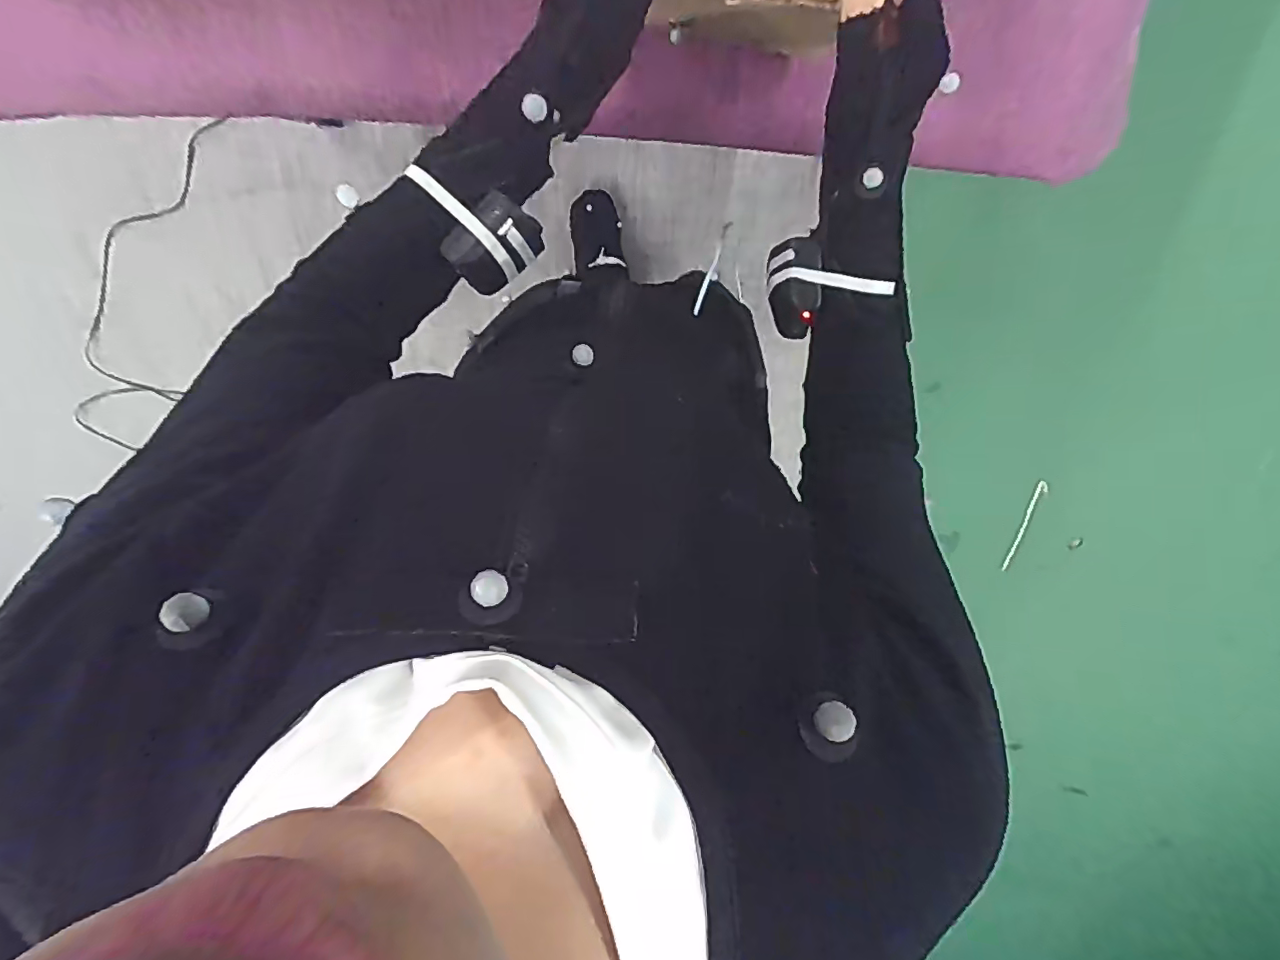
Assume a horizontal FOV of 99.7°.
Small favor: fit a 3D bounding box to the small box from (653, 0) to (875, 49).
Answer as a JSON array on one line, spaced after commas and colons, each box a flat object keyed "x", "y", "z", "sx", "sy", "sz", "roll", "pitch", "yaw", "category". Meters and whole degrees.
[{"x": 0.098, "y": -0.447, "z": 0.393, "sx": 0.168, "sy": 0.176, "sz": 0.179, "roll": 9, "pitch": 119, "yaw": -4, "category": "small box"}]
